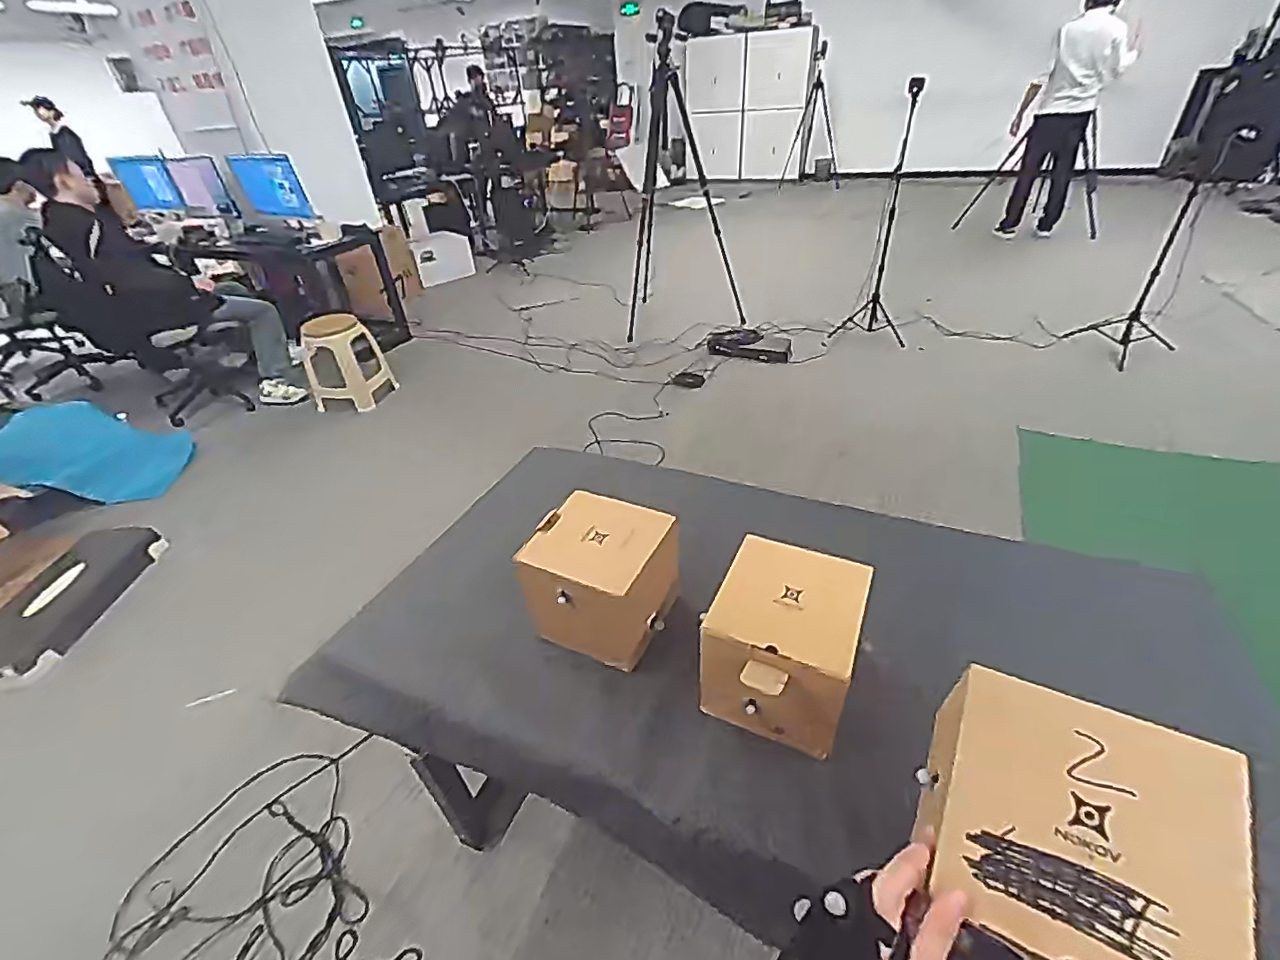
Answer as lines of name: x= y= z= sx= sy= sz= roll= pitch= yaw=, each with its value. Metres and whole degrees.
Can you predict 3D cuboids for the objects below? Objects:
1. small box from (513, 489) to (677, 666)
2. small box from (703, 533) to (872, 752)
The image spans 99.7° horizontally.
small box: x=-0.057 y=0.142 z=0.799 sx=0.179 sy=0.176 sz=0.168 roll=15 pitch=41 yaw=24
small box: x=0.183 y=0.203 z=0.692 sx=0.168 sy=0.176 sz=0.179 roll=14 pitch=41 yaw=23
